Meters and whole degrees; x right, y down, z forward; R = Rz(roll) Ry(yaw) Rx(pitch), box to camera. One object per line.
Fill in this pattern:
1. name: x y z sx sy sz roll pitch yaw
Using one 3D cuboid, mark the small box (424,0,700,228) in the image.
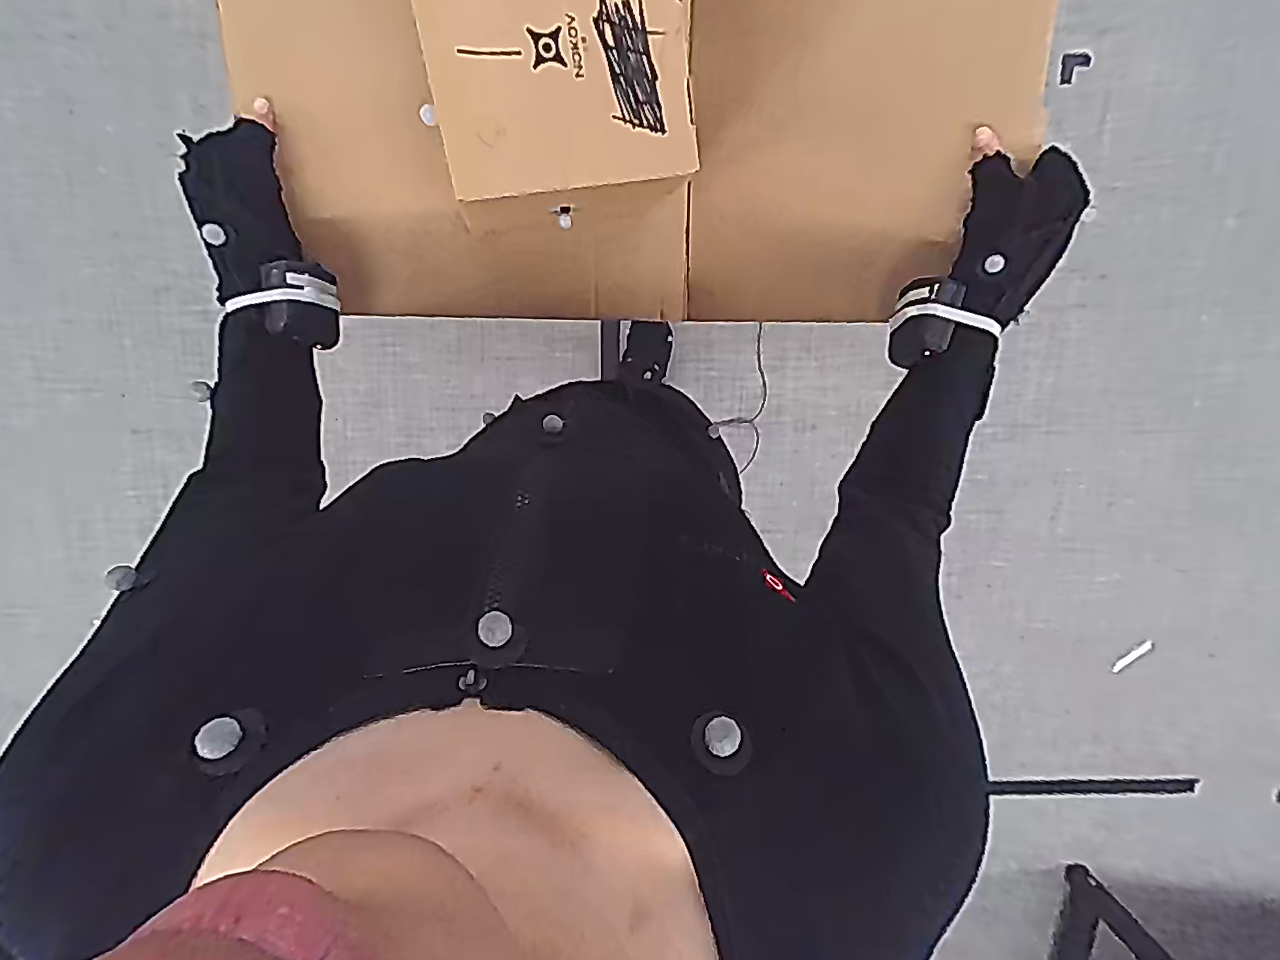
1. small box: -0.067 -0.314 0.440 0.179 0.176 0.168 -12 108 -9
